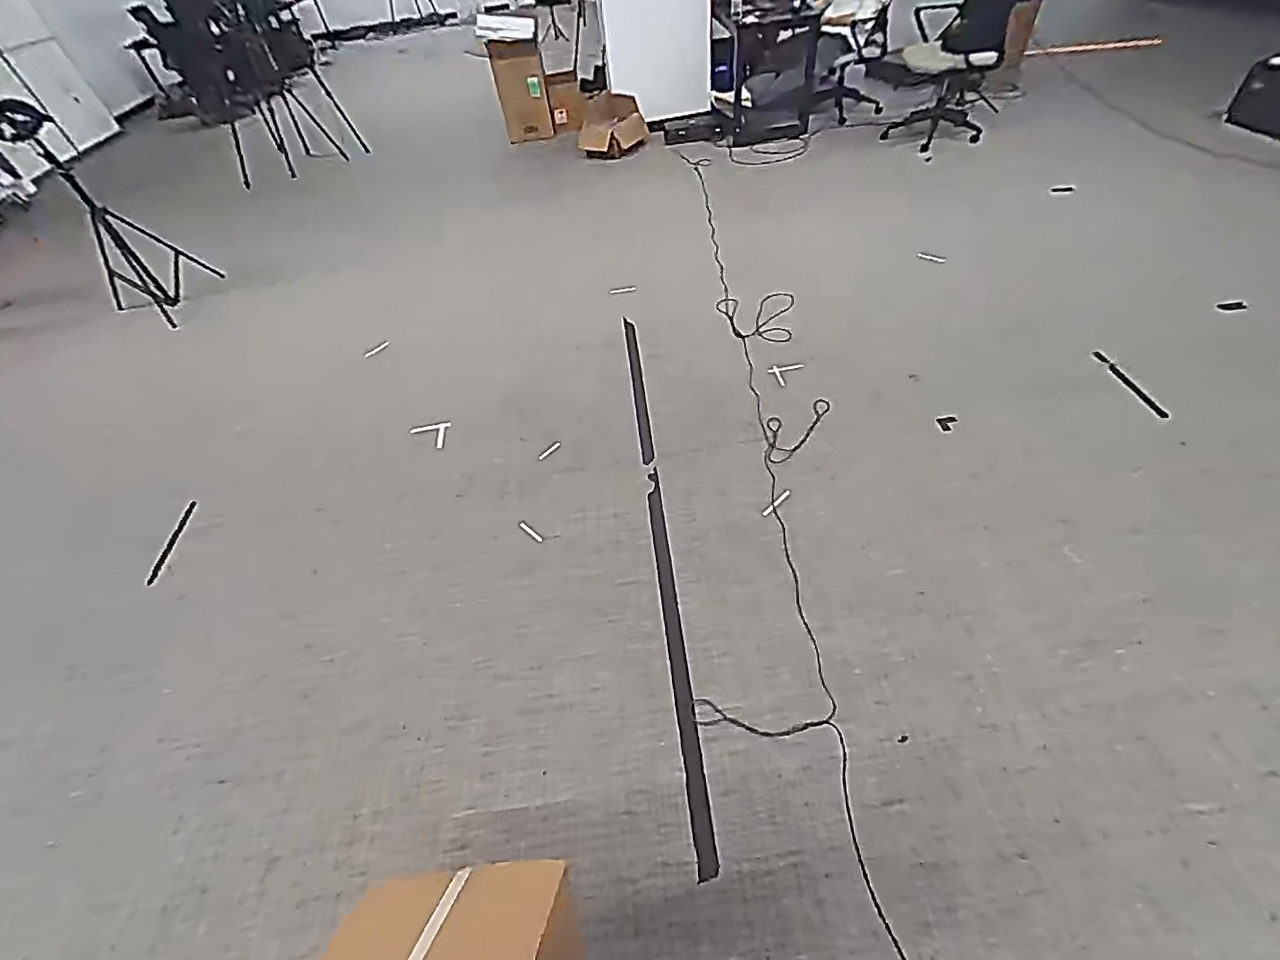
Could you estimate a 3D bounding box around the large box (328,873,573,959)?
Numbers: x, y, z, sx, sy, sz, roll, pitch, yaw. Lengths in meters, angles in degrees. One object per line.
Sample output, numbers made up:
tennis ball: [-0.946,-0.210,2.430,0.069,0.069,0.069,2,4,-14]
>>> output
large box: [-0.256,0.776,0.638,0.320,0.408,0.320,-12,92,5]
